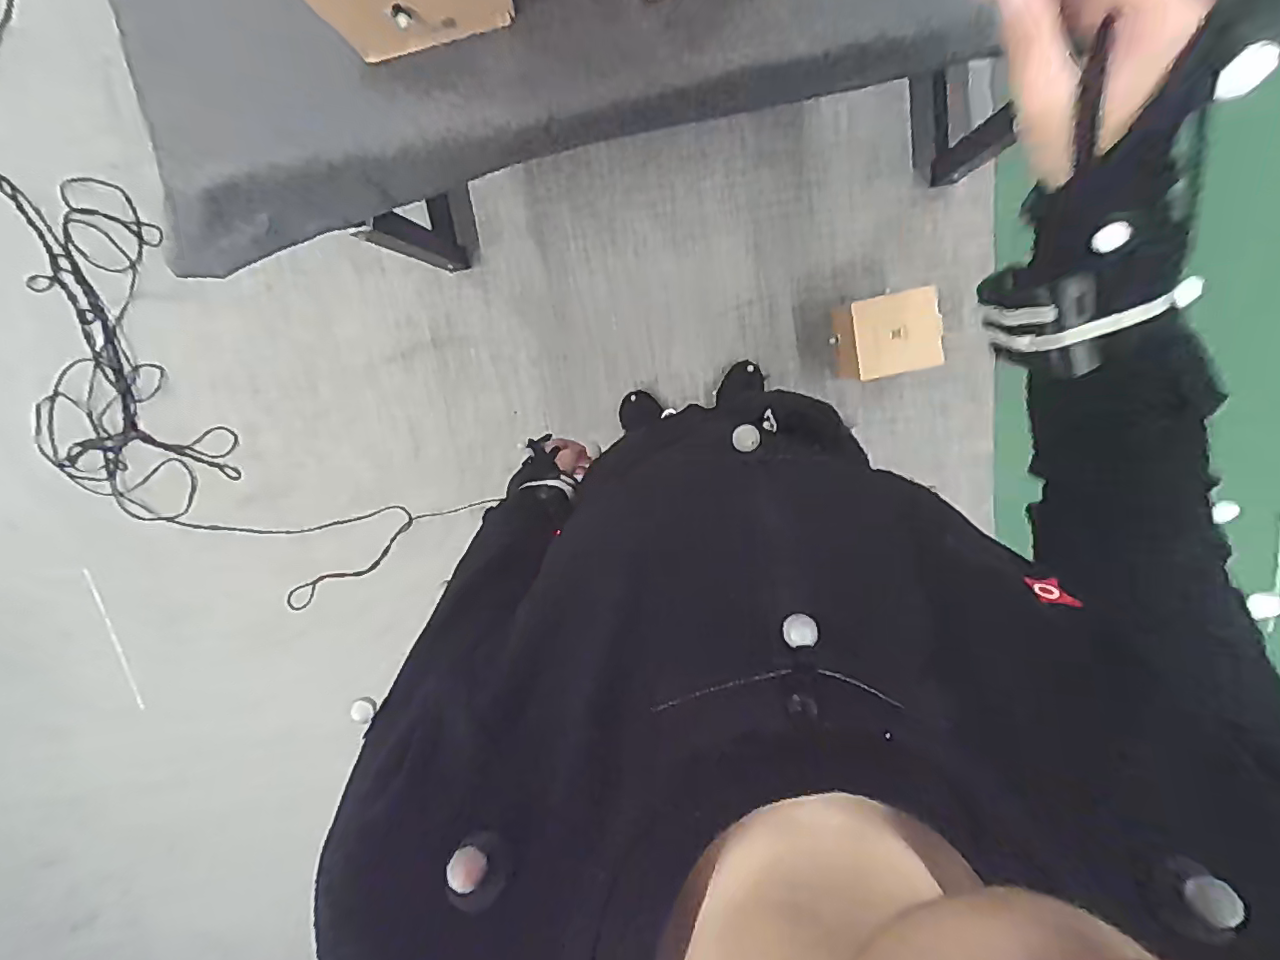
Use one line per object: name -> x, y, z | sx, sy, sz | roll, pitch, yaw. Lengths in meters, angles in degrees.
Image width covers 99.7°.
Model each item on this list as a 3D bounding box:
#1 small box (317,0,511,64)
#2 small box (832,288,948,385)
small box -> -0.229, -0.517, 0.467 | 0.168, 0.176, 0.179 | -11, 101, 6
small box -> 0.543, -0.311, 1.194 | 0.179, 0.176, 0.168 | -12, 99, 7
